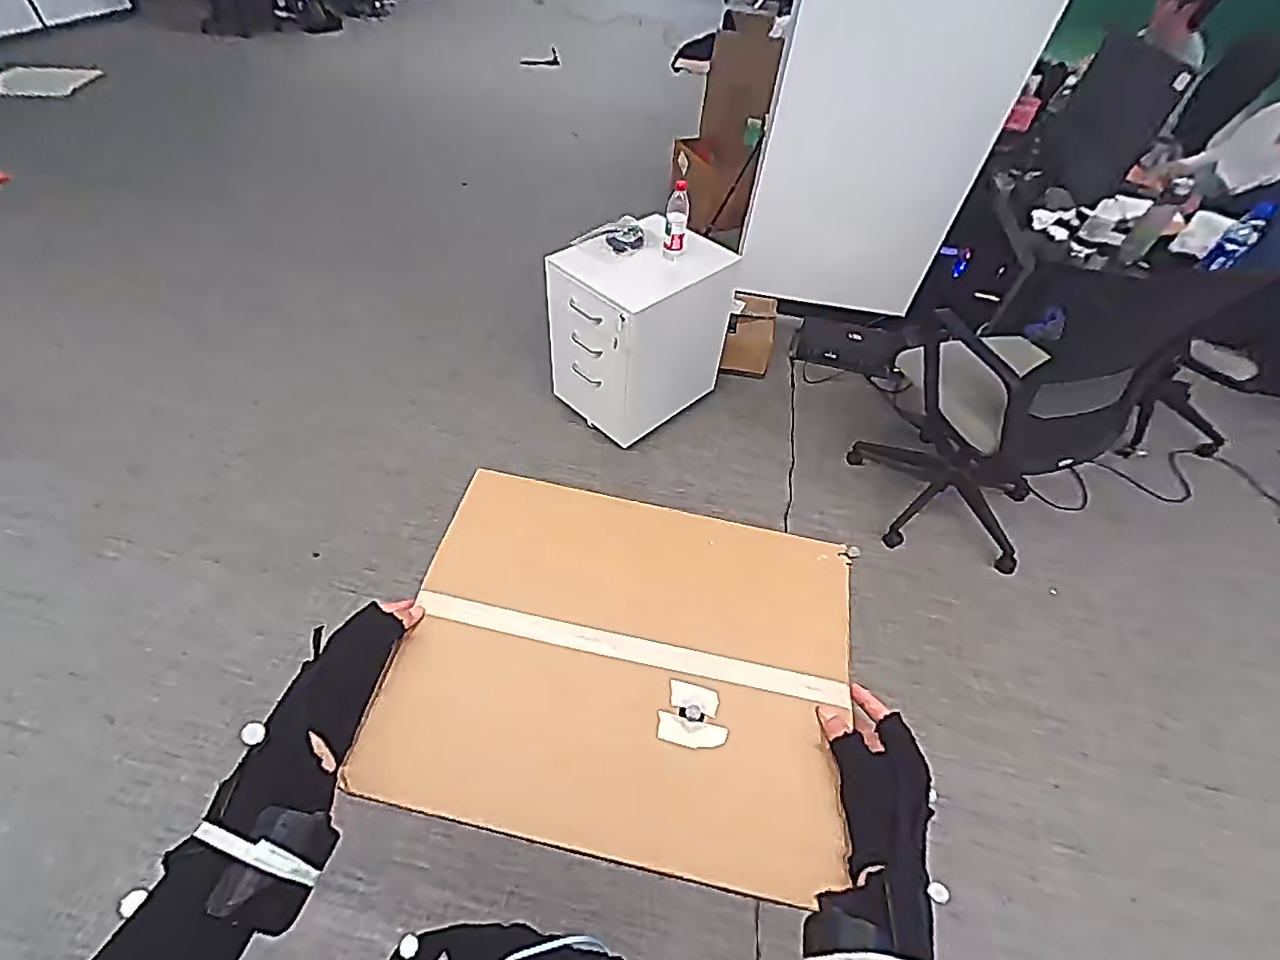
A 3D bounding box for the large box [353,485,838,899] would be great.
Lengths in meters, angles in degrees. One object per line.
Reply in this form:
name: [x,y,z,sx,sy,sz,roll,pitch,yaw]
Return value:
large box: [-0.025,0.247,0.633,0.408,0.320,0.320,12,57,3]
